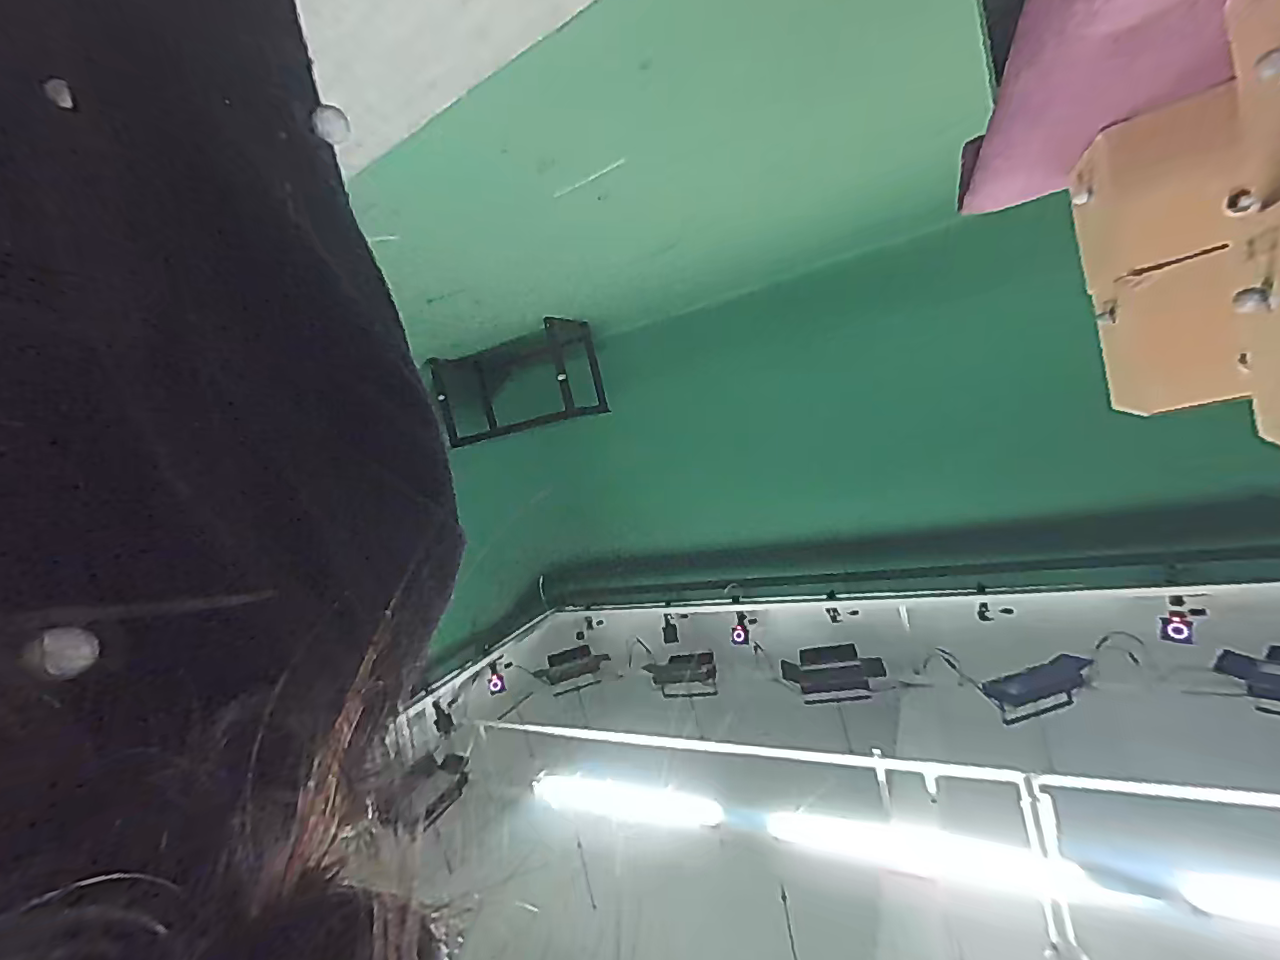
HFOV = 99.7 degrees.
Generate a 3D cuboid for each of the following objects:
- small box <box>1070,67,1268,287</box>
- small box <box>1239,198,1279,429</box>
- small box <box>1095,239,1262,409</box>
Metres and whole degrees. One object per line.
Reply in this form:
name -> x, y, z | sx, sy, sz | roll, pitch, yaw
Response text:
small box -> 0.646, -0.349, 0.636 | 0.179, 0.176, 0.168 | -11, -176, 28
small box -> 0.505, -0.119, 0.312 | 0.179, 0.176, 0.168 | -10, -175, 38
small box -> 0.683, -0.191, 0.642 | 0.179, 0.176, 0.168 | -12, -176, 31
